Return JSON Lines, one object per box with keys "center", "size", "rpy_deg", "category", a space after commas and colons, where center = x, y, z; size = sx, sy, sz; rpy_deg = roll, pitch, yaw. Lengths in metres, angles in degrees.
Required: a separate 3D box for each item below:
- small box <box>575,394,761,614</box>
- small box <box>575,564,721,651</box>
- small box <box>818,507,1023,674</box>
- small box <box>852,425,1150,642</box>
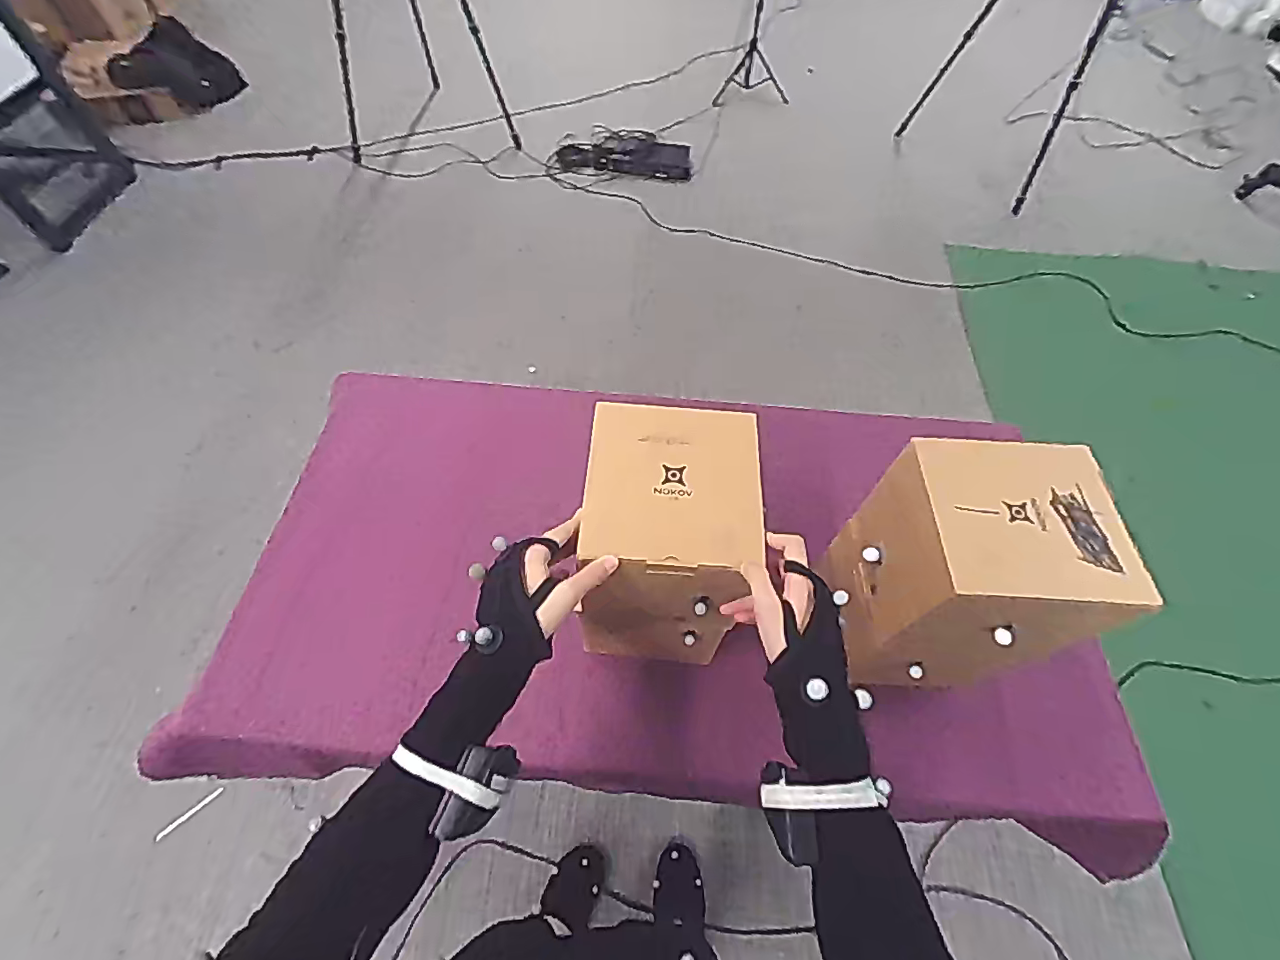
{"center": [0.028, 0.033, 0.579], "size": [0.168, 0.176, 0.179], "rpy_deg": [5, 57, 0], "category": "small box"}
{"center": [0.017, 0.118, 0.716], "size": [0.179, 0.176, 0.168], "rpy_deg": [5, 58, 1], "category": "small box"}
{"center": [0.342, 0.148, 0.703], "size": [0.179, 0.176, 0.168], "rpy_deg": [2, 58, 1], "category": "small box"}
{"center": [0.345, 0.063, 0.562], "size": [0.179, 0.176, 0.168], "rpy_deg": [3, 57, 1], "category": "small box"}
